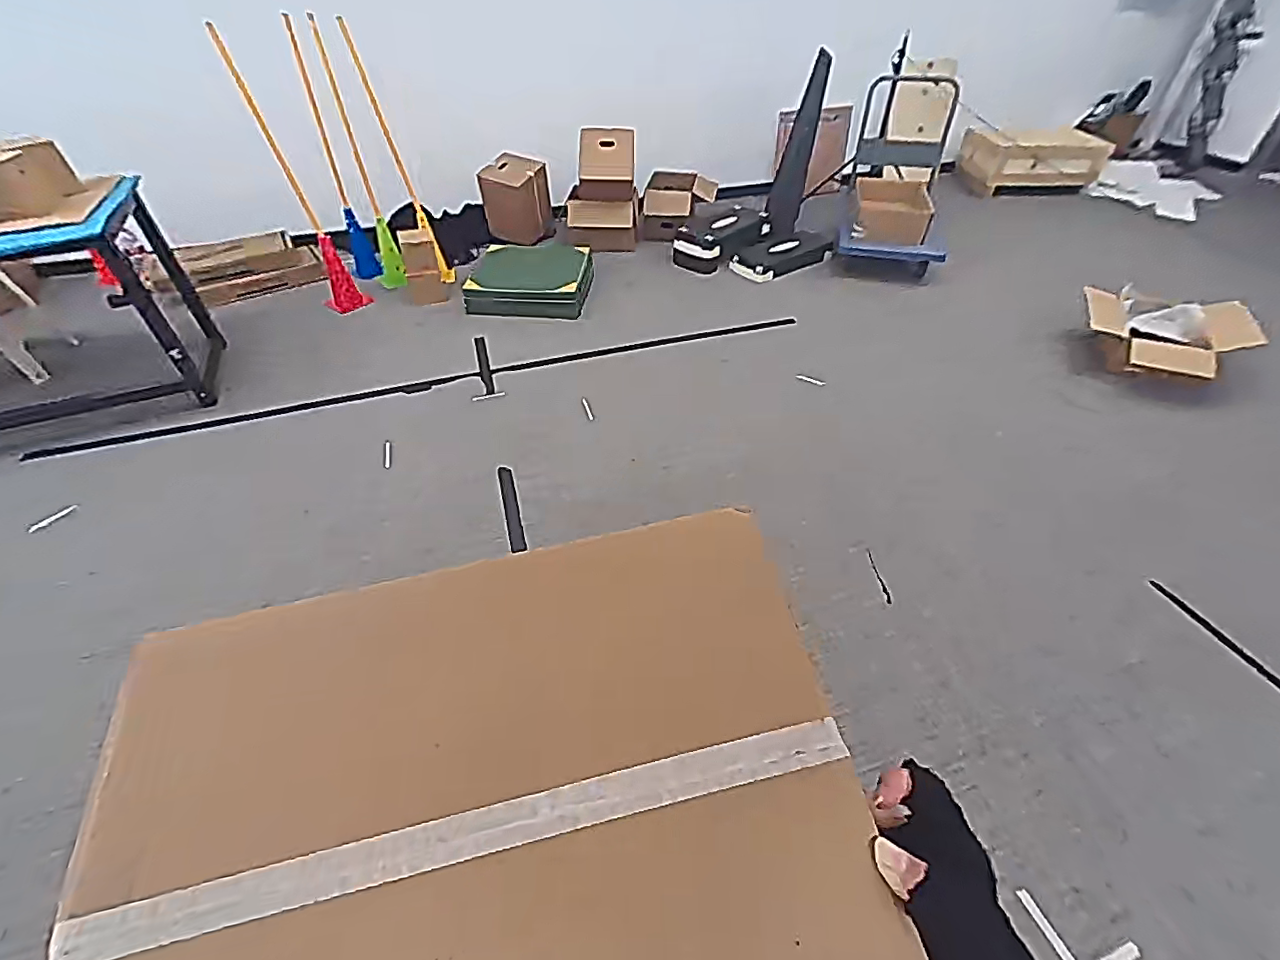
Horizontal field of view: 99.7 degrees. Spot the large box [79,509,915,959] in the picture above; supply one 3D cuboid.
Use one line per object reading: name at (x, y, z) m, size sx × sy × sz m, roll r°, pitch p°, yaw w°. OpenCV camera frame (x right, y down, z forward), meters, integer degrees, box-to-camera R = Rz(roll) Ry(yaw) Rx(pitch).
large box at (-0.082, 0.267, 0.419) m, size 0.408 × 0.320 × 0.320 m, roll -12°, pitch 58°, yaw -6°
